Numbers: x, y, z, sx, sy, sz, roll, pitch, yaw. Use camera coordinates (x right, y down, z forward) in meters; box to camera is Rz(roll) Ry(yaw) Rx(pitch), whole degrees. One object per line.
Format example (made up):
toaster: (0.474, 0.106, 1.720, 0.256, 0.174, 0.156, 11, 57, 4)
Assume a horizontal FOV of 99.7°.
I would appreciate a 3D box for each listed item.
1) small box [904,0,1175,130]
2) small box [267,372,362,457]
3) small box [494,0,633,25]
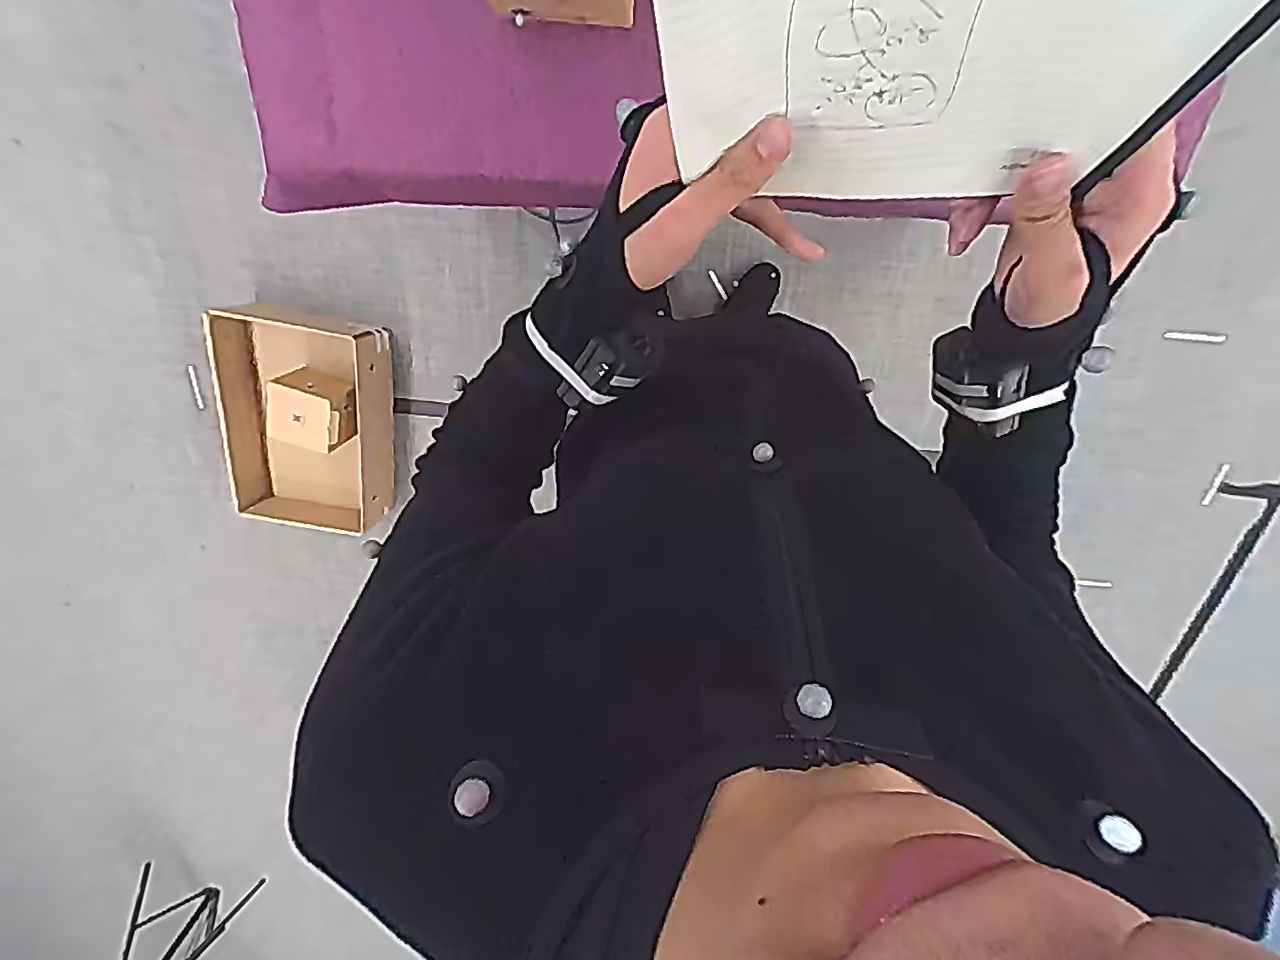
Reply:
small box: (0.411, -0.484, 0.570, 0.179, 0.176, 0.168, 6, 115, 1)
small box: (-0.921, -0.192, 1.538, 0.179, 0.176, 0.168, 17, 115, -5)
small box: (-0.089, -0.599, 0.549, 0.168, 0.176, 0.179, 5, 114, 1)
